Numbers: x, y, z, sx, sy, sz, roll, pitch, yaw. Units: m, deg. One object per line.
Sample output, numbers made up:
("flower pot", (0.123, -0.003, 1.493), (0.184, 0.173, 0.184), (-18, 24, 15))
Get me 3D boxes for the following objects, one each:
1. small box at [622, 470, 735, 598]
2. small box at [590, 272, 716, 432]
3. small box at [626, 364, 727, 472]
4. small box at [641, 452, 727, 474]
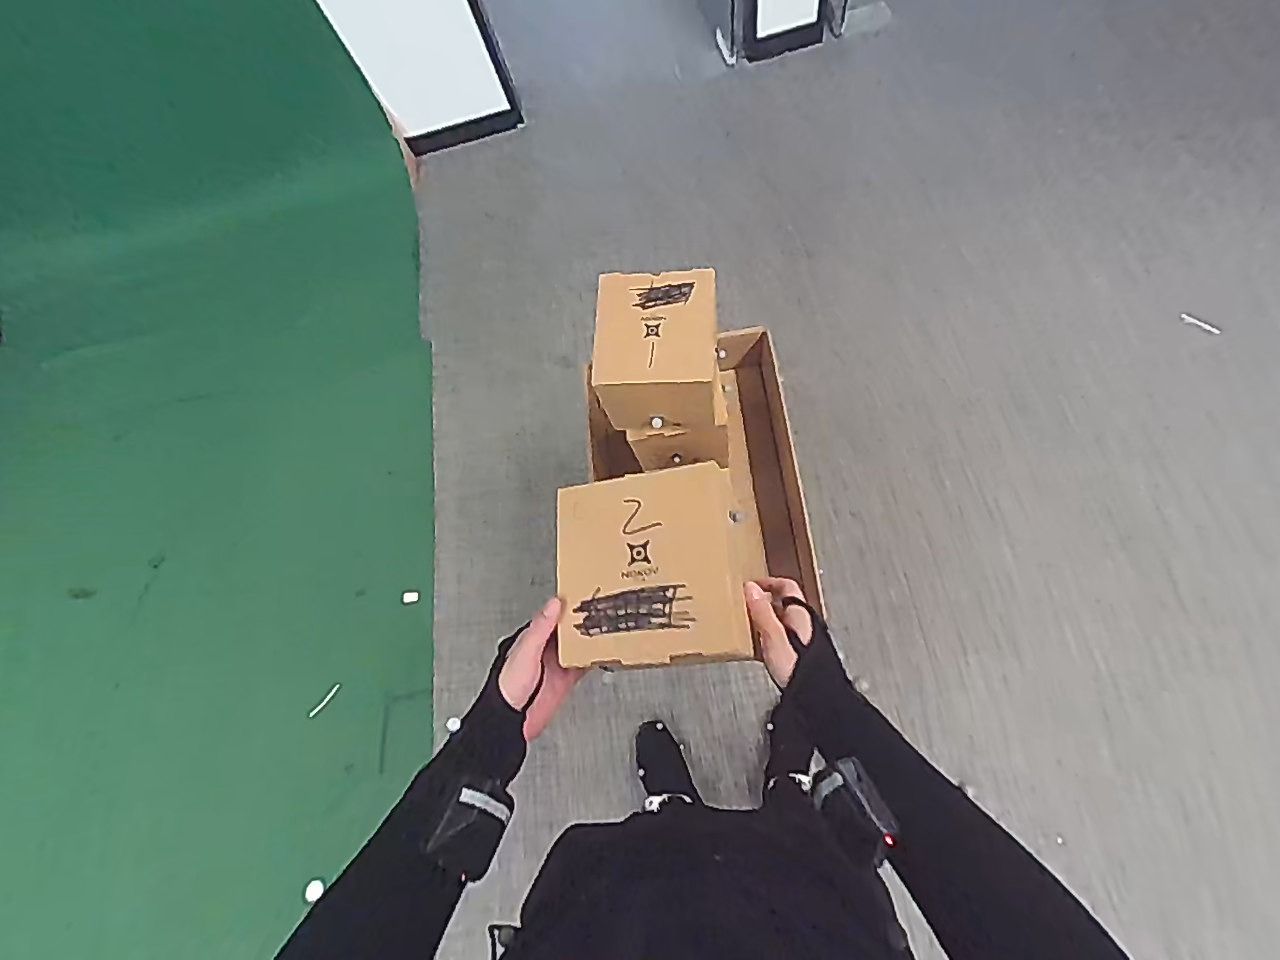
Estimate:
("small box", (0.068, 0.096, 0.882), (0.168, 0.176, 0.179), (-3, 69, 8))
("small box", (0.029, -0.185, 0.815), (0.168, 0.176, 0.179), (0, 74, 10))
("small box", (0.060, -0.131, 0.967), (0.168, 0.176, 0.179), (-9, 72, 6))
("small box", (0.087, -0.084, 1.120), (0.168, 0.176, 0.179), (-9, 71, 7))
